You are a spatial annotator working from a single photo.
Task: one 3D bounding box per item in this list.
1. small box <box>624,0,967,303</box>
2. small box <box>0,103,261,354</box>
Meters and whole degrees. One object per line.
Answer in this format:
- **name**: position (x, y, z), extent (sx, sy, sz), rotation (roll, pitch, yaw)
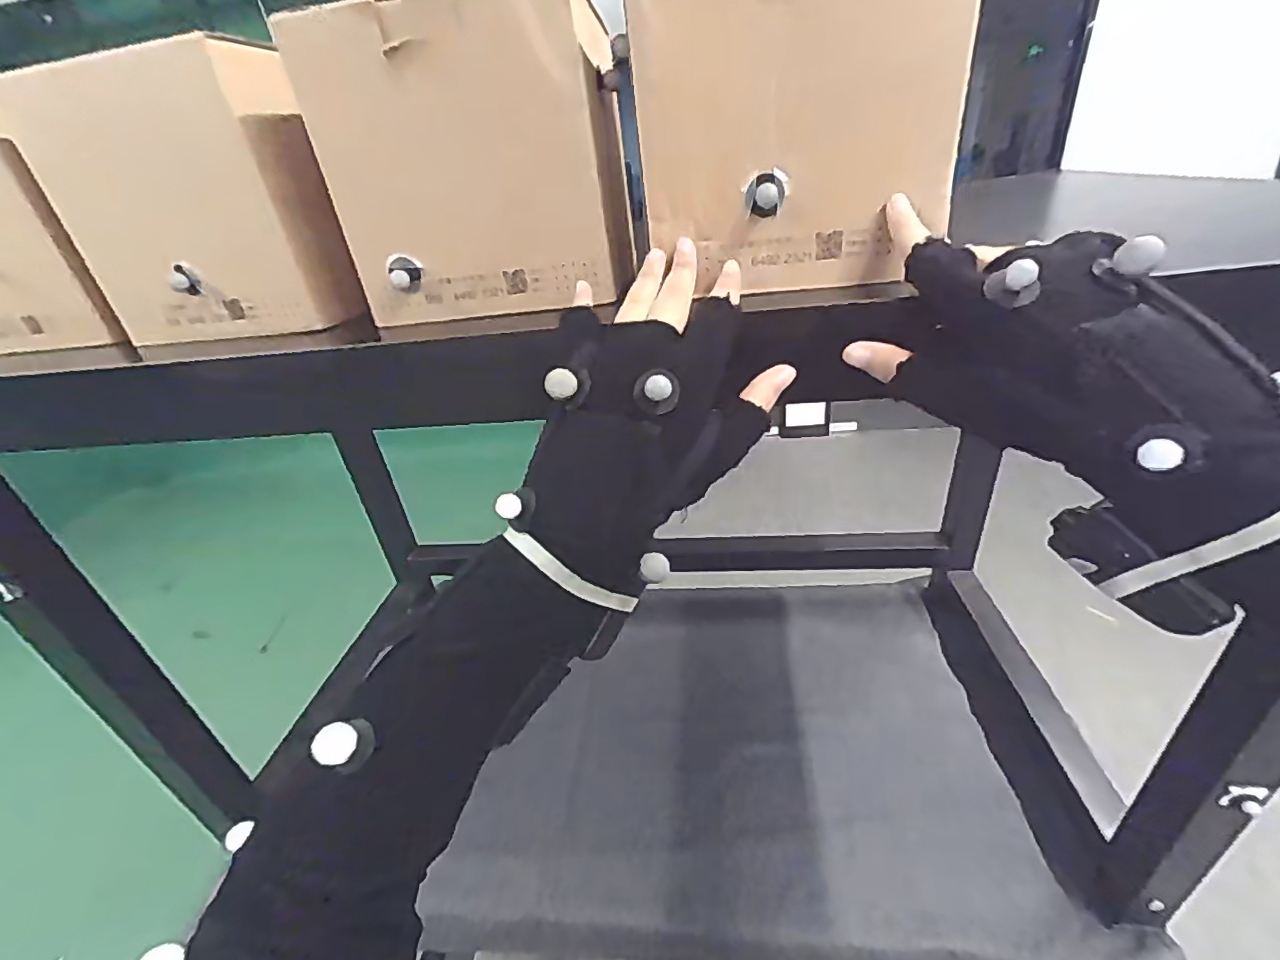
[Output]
- **small box**: position (0.090, -0.223, 0.361), extent (0.168, 0.176, 0.179), rotation (-2, 30, 10)
- **small box**: position (-0.490, -0.214, 0.476), extent (0.168, 0.176, 0.179), rotation (-1, 30, 9)
